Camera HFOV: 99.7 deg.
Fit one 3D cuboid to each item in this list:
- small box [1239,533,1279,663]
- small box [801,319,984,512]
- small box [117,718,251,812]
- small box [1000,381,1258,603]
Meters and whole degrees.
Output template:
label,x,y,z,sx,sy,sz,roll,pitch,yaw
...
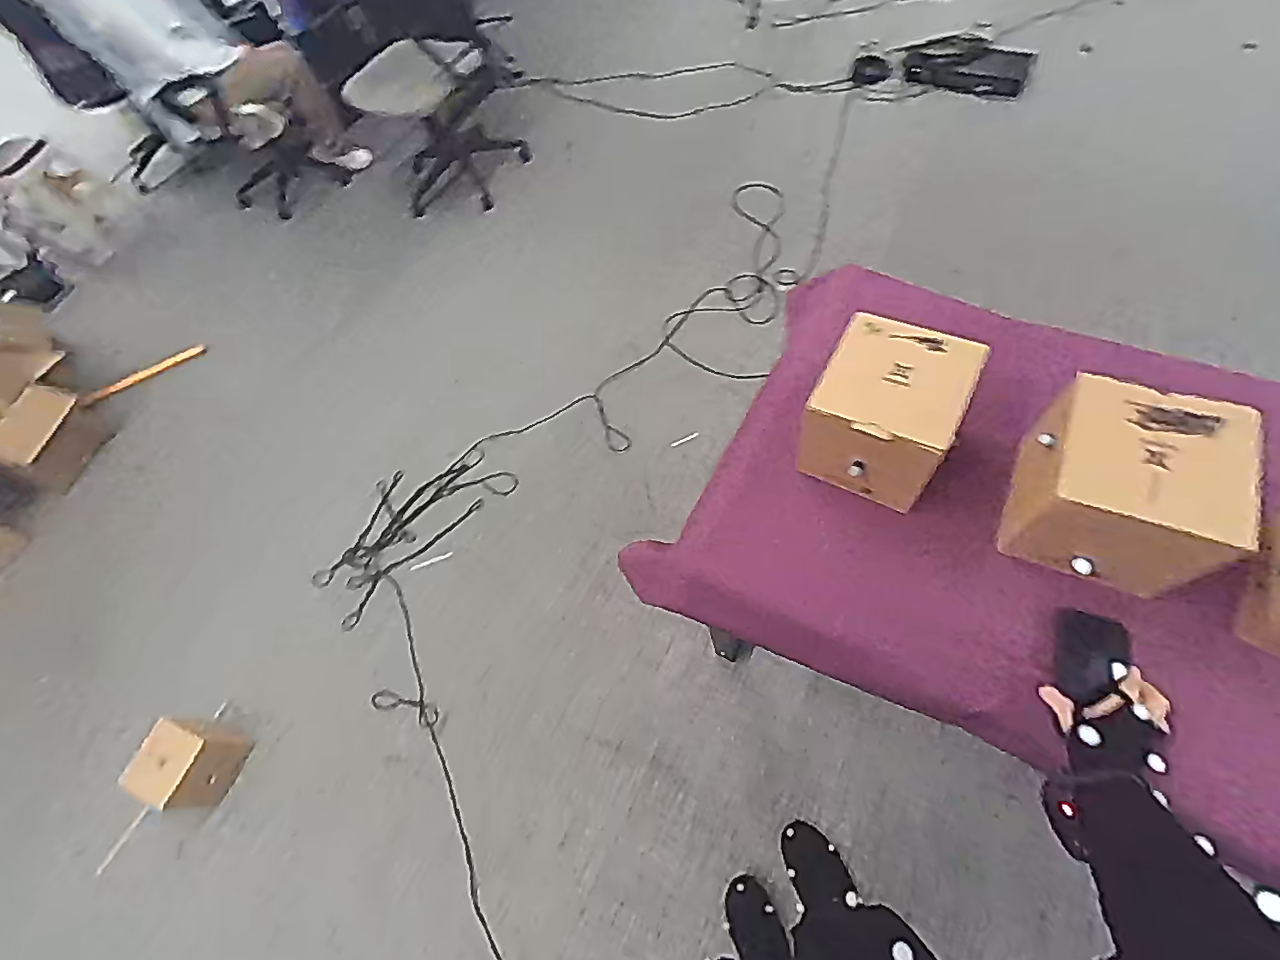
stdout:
label,x,y,z,sx,sy,sz,roll,pitch,yaw
small box,0.772,0.123,0.536,0.179,0.176,0.168,28,70,24
small box,0.332,-0.082,0.743,0.168,0.176,0.179,25,69,23
small box,-1.193,0.749,1.430,0.179,0.176,0.168,15,65,19
small box,0.559,0.018,0.639,0.168,0.176,0.179,20,67,21
